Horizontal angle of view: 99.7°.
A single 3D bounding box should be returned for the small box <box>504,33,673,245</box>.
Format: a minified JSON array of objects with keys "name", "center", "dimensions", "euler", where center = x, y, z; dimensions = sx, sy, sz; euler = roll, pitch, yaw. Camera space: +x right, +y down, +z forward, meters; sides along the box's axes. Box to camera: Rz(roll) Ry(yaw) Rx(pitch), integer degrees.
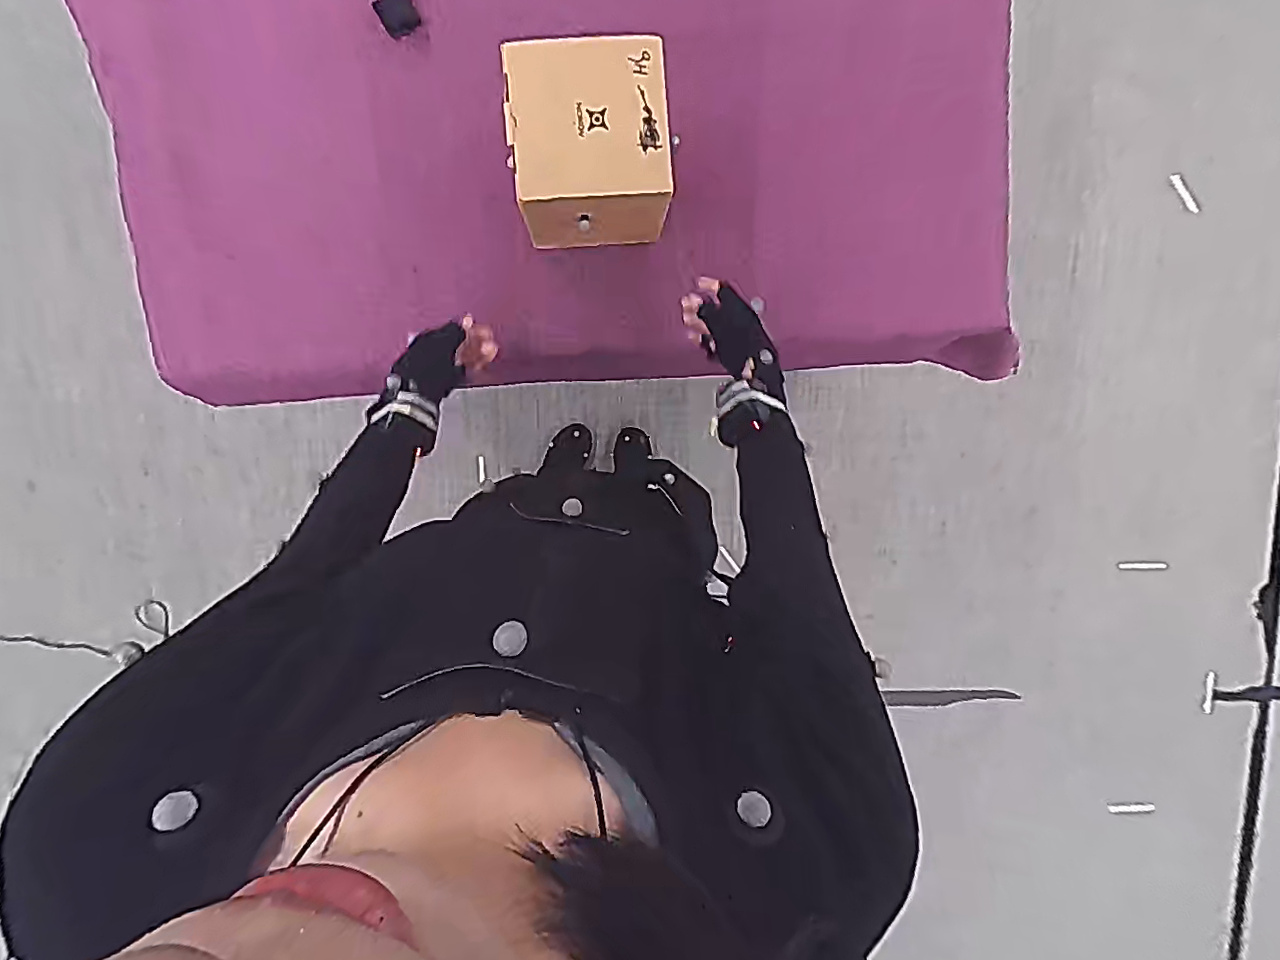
[{"name":"small box","center":[-0.058,-0.403,0.669],"dimensions":[0.179,0.176,0.168],"euler":[-5,96,-3]}]
